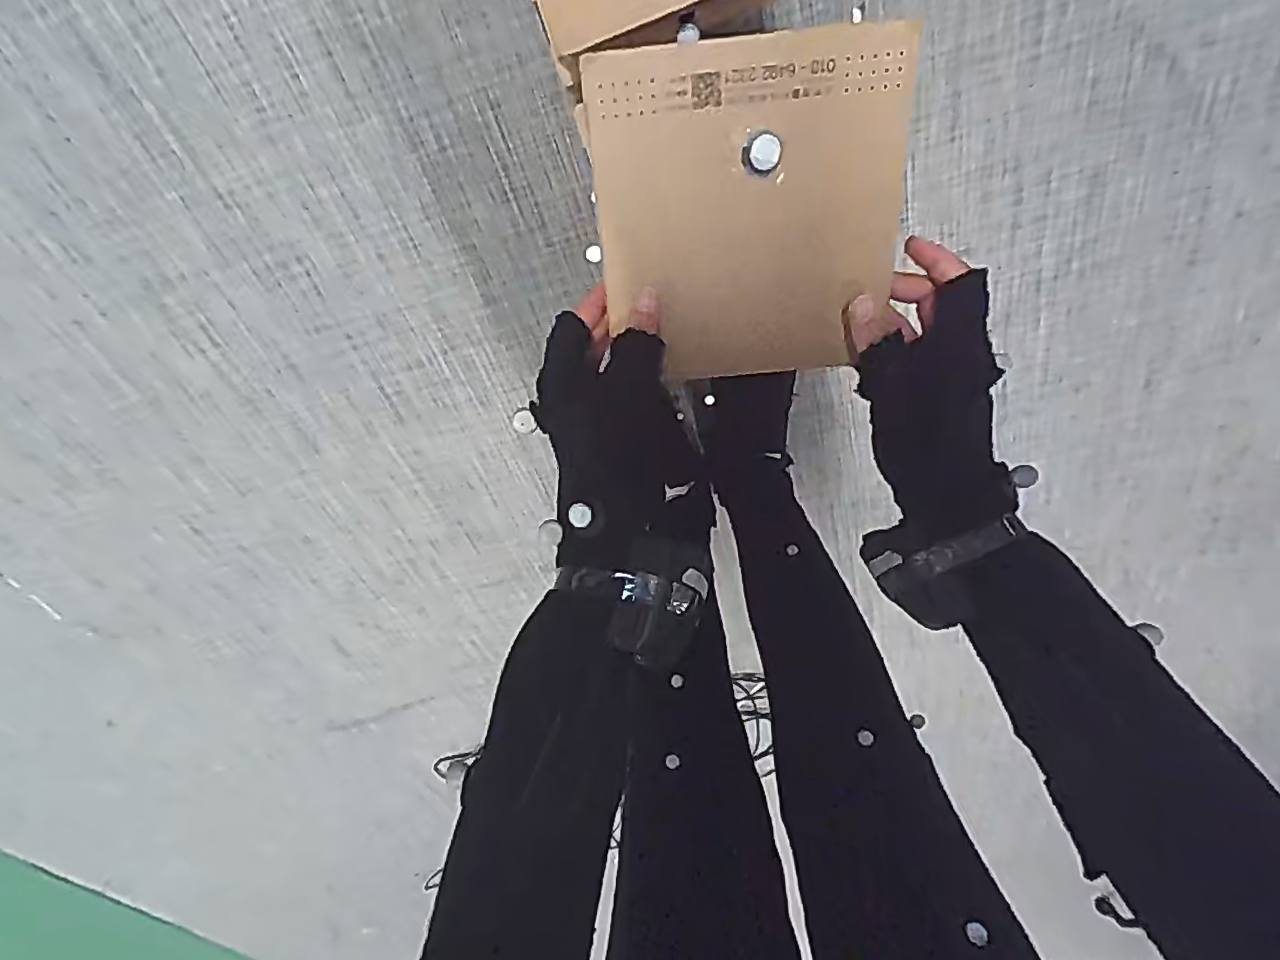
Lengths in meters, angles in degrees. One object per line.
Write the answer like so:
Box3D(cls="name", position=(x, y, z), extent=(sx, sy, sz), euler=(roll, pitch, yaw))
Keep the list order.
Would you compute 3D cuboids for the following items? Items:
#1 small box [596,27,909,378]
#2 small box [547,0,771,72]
Box3D(cls="small box", position=(0.063, -0.179, 0.371), extent=(0.168, 0.179, 0.176), euler=(-5, 115, 1))
Box3D(cls="small box", position=(0.013, -0.374, 0.323), extent=(0.179, 0.176, 0.168), euler=(-16, 123, 9))
